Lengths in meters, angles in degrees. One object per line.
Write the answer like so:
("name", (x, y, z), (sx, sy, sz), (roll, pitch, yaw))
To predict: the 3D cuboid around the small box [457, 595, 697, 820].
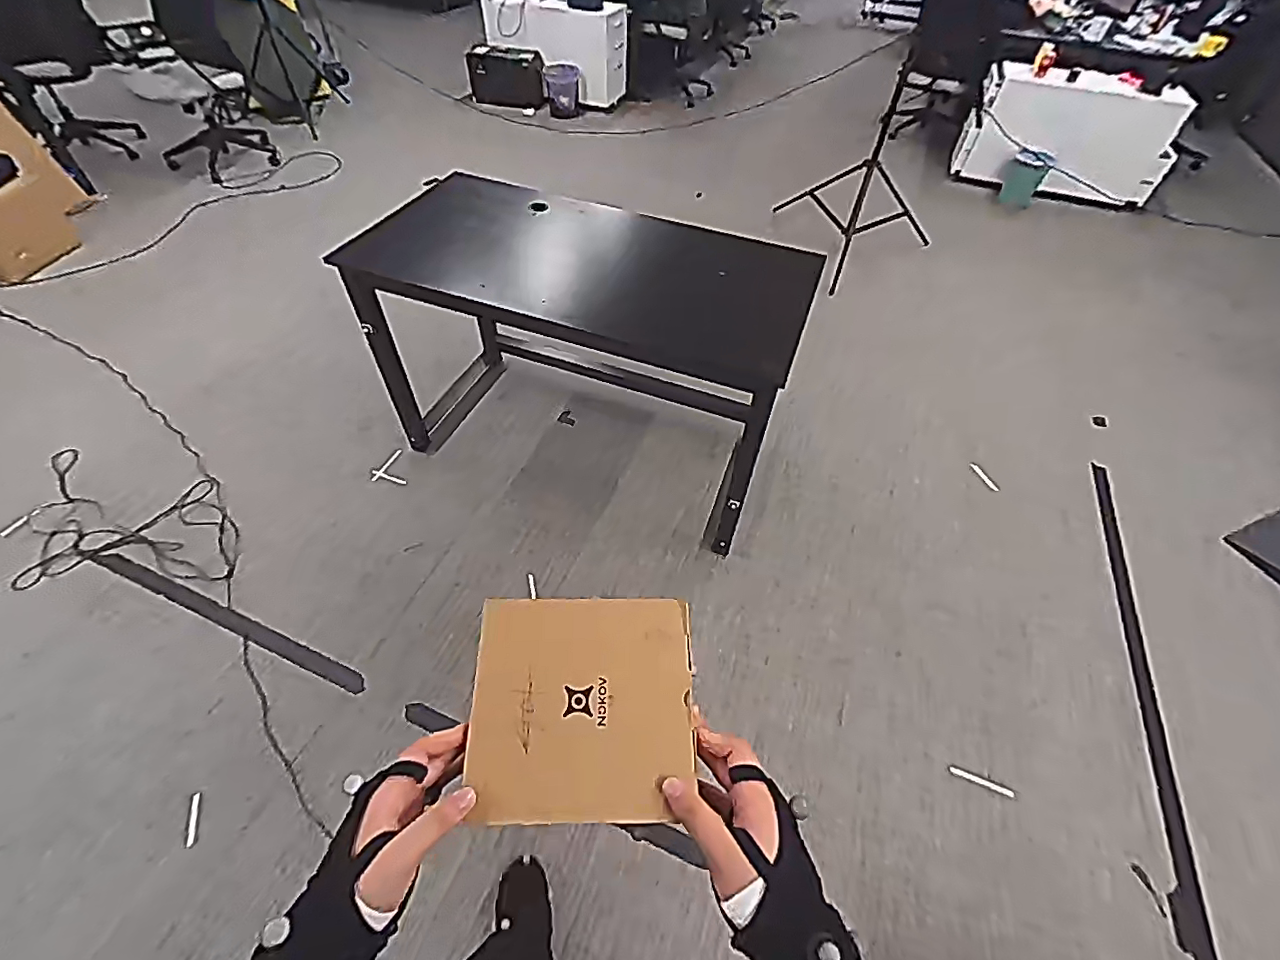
("small box", (-0.049, 0.211, 0.498), (0.179, 0.176, 0.168), (-1, 59, -2))
